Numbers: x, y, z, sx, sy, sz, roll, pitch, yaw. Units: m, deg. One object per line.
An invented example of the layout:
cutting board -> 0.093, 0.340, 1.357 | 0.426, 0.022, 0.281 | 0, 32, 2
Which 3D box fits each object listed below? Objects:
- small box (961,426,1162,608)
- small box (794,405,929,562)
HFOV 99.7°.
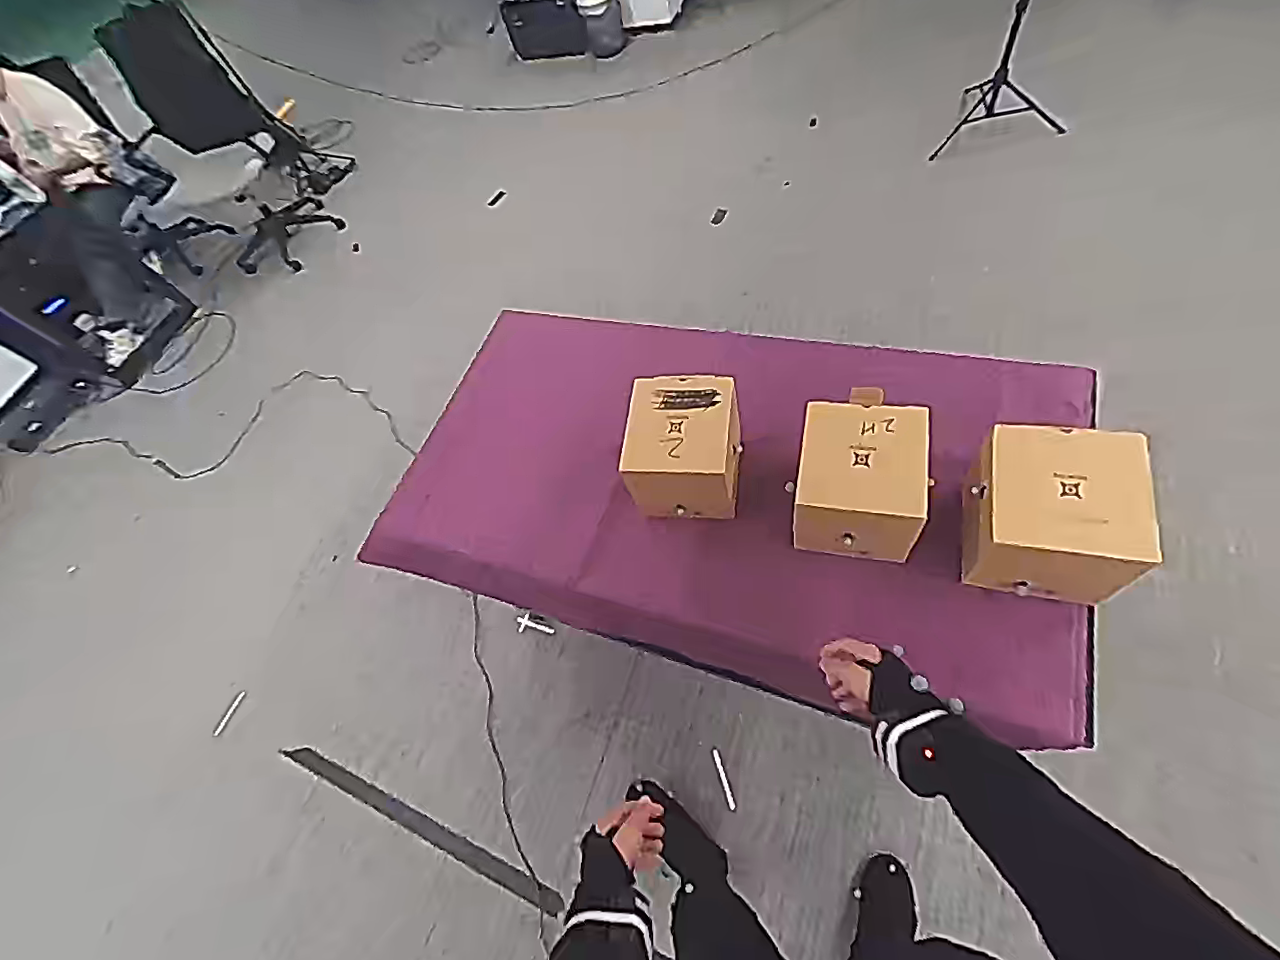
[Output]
small box -> 0.547, 0.052, 0.730 | 0.168, 0.176, 0.179 | 7, 63, 21
small box -> 0.327, 0.009, 0.814 | 0.168, 0.176, 0.179 | 6, 63, 18
